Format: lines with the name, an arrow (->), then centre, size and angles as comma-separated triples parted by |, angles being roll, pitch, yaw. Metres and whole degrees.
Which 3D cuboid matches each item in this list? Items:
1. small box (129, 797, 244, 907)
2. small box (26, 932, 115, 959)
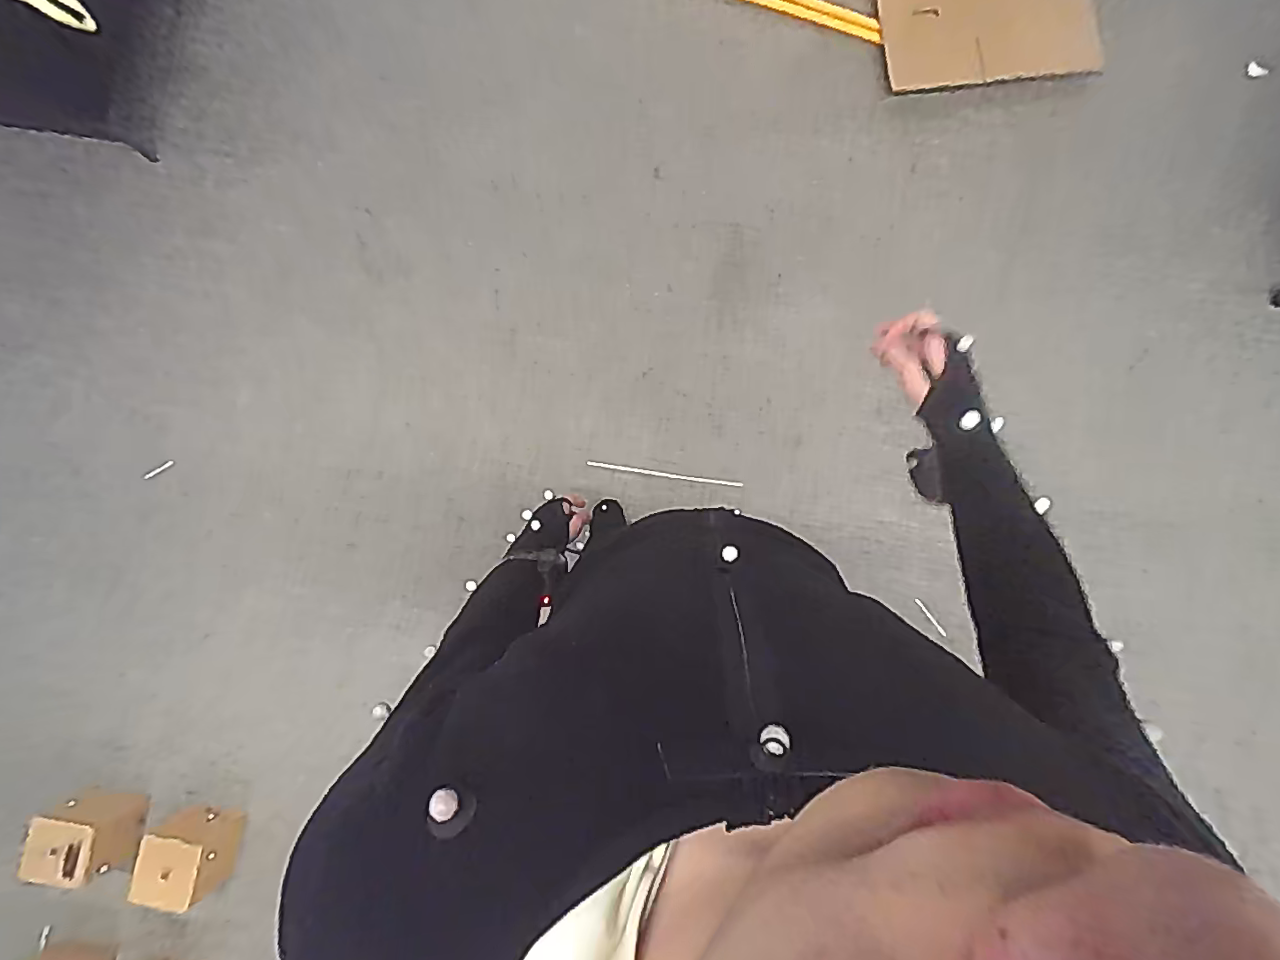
small box -> -1.257, 1.032, 1.513 | 0.168, 0.176, 0.179 | 11, 86, 1
small box -> -1.620, 1.404, 1.492 | 0.179, 0.176, 0.168 | 11, 87, 2
